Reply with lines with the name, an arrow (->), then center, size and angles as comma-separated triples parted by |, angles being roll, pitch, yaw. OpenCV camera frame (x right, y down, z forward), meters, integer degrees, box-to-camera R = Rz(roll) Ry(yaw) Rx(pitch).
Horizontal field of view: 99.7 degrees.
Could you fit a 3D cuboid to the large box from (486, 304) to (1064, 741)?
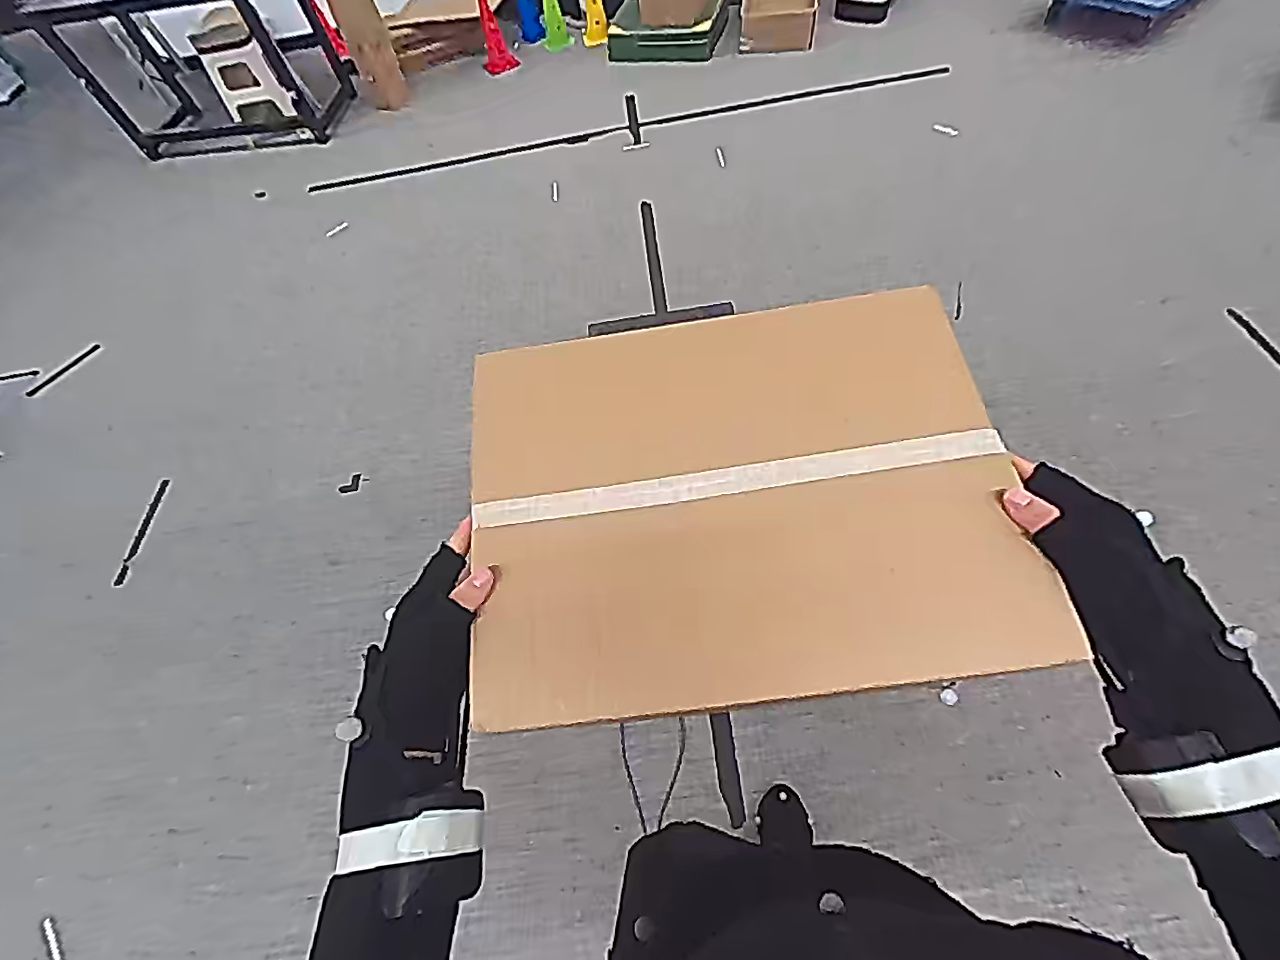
large box -> 0.090, 0.069, 0.564 | 0.408, 0.320, 0.320 | -9, 65, 3
